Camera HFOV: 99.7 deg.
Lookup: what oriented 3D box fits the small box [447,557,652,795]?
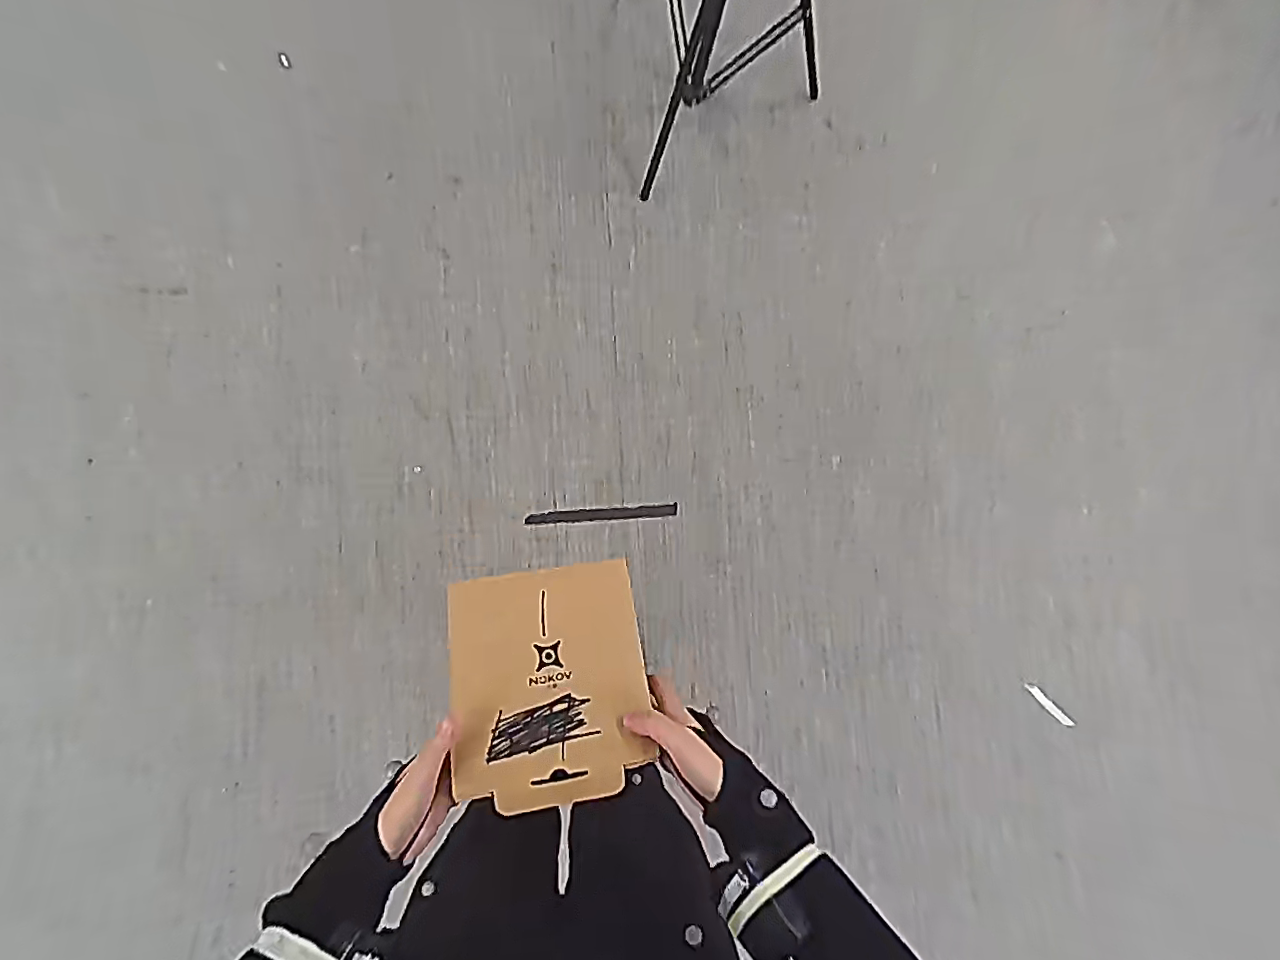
[{"bbox_3d":[-0.087,0.194,0.540,0.168,0.176,0.179,-8,64,-8],"label":"small box"}]
